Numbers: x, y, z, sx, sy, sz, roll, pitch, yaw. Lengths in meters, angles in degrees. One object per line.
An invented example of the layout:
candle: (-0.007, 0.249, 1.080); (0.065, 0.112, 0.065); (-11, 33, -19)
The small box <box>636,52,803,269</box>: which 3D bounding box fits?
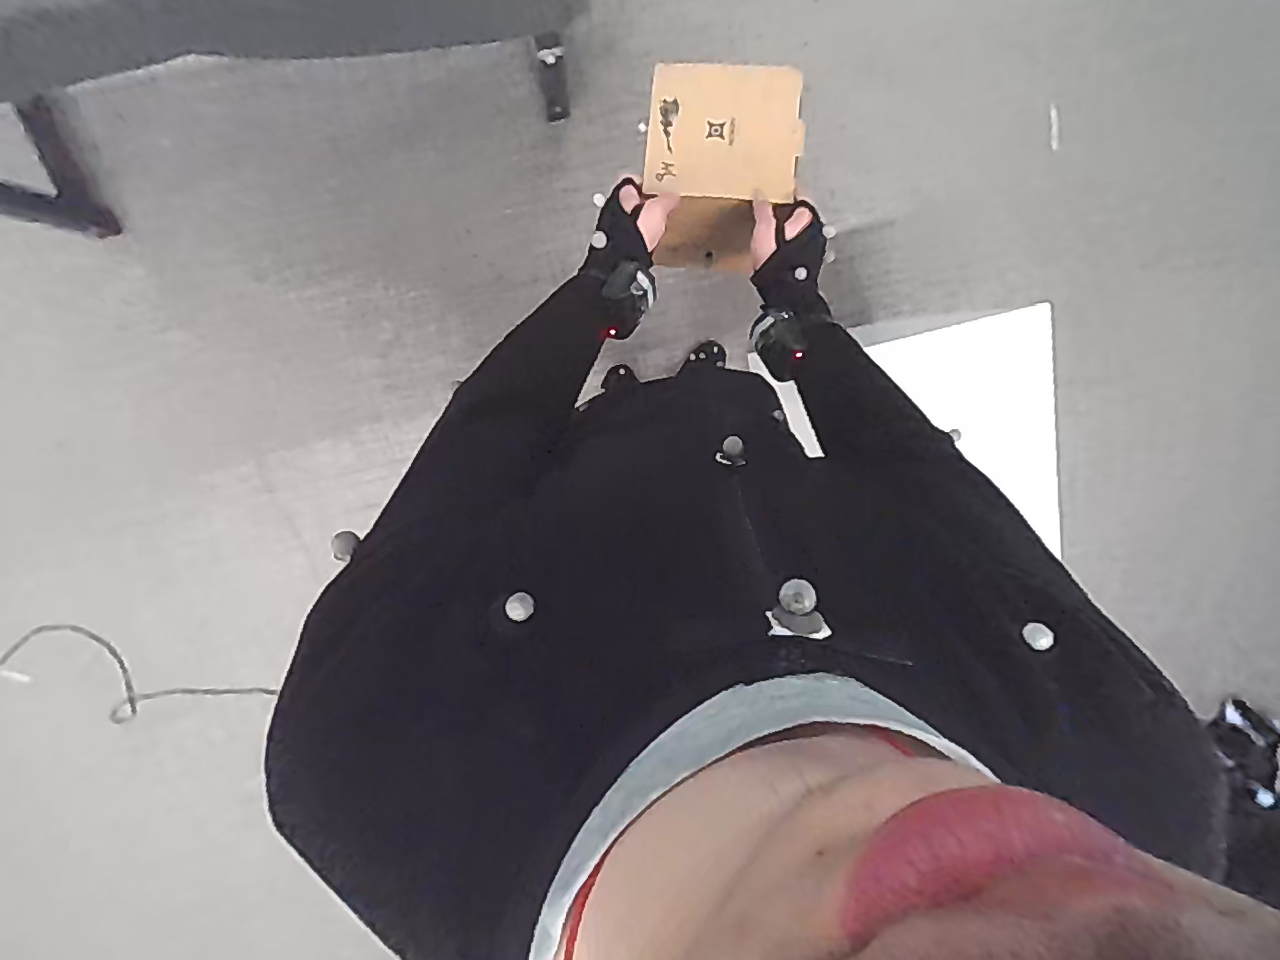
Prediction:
small box: (0.090, -0.386, 0.684); (0.179, 0.176, 0.168); (5, 84, 0)
